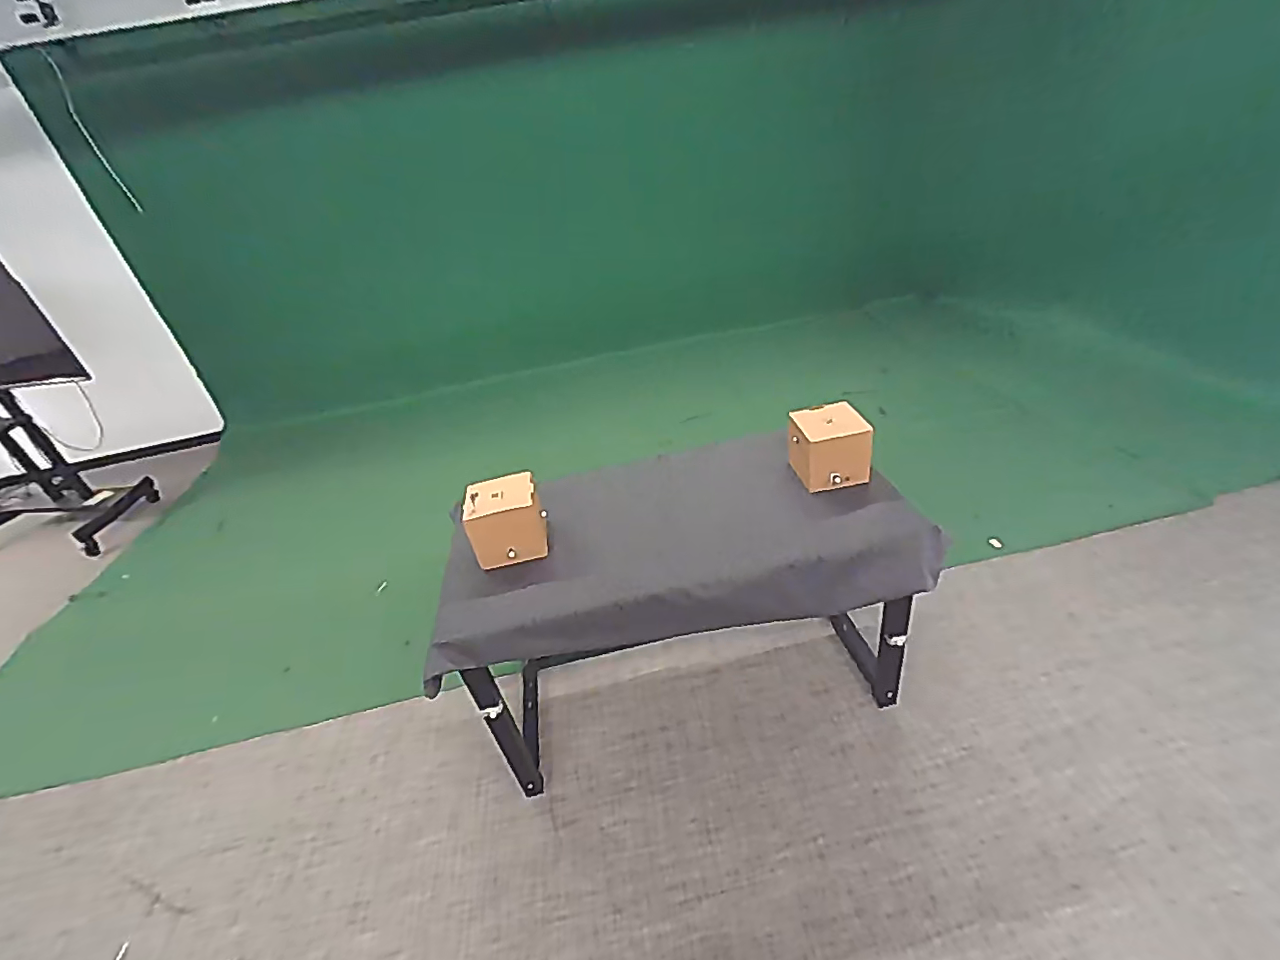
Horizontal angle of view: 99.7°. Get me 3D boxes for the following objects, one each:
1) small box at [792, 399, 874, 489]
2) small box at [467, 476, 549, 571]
[{"bbox_3d":[0.520,-0.098,1.478,0.168,0.176,0.179,-11,33,3],"label":"small box"},{"bbox_3d":[-0.341,0.115,1.433,0.179,0.176,0.168,-12,33,-4],"label":"small box"}]
